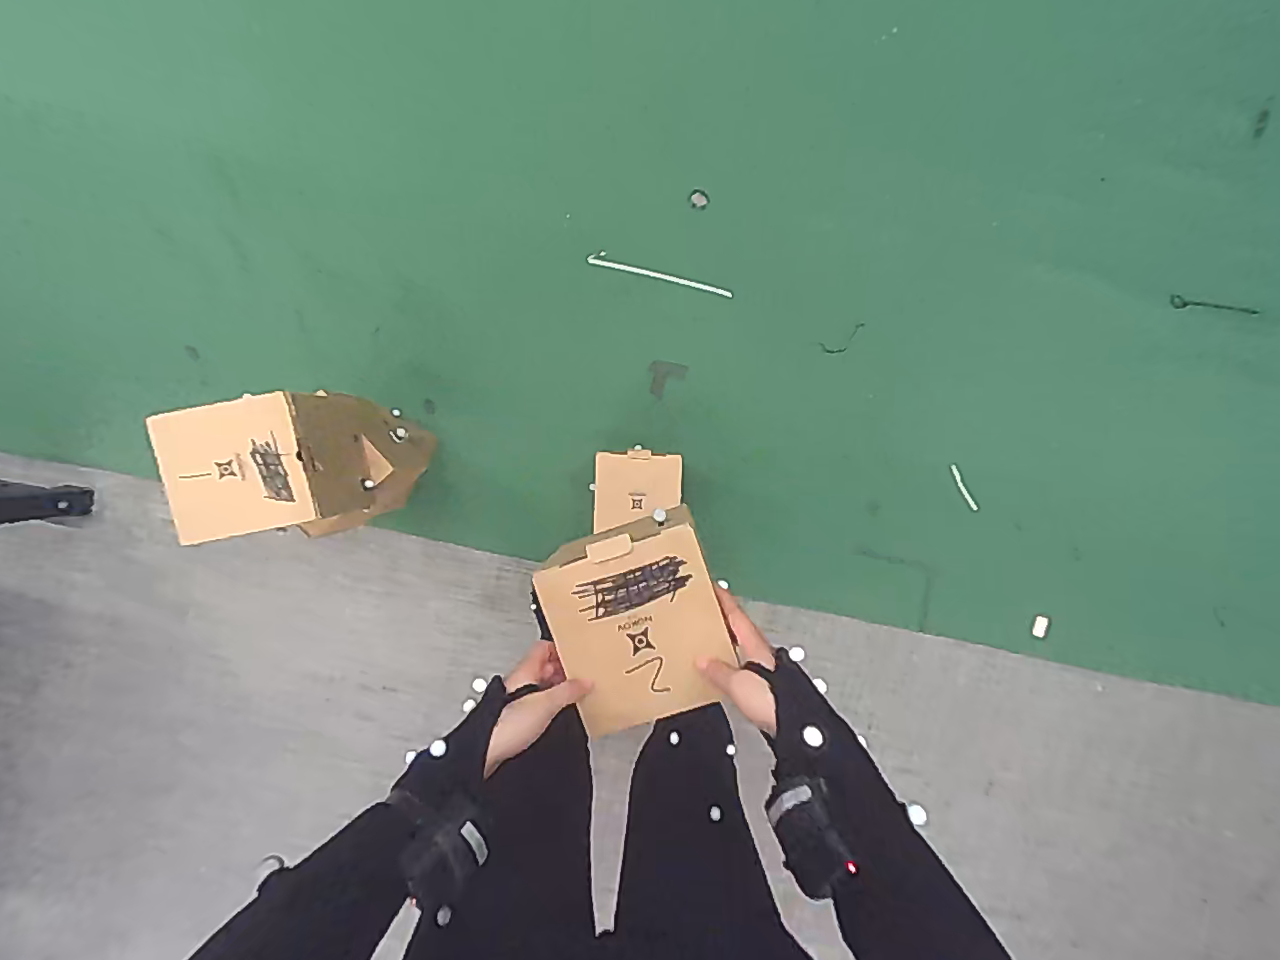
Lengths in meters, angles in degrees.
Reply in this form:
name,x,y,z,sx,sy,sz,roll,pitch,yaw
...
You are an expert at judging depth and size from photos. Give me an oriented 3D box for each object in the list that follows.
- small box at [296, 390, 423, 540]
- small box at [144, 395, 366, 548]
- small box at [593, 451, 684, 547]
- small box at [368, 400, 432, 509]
name,x,y,z,sx,sy,sz,roll,pitch,yaw
small box,-0.500,-0.027,0.903,0.179,0.176,0.168,-41,96,0
small box,-0.501,-0.018,0.738,0.179,0.176,0.168,-11,95,-1
small box,-0.009,0.034,1.093,0.168,0.176,0.179,3,93,-4
small box,-0.538,-0.051,1.062,0.168,0.176,0.179,28,92,-6
